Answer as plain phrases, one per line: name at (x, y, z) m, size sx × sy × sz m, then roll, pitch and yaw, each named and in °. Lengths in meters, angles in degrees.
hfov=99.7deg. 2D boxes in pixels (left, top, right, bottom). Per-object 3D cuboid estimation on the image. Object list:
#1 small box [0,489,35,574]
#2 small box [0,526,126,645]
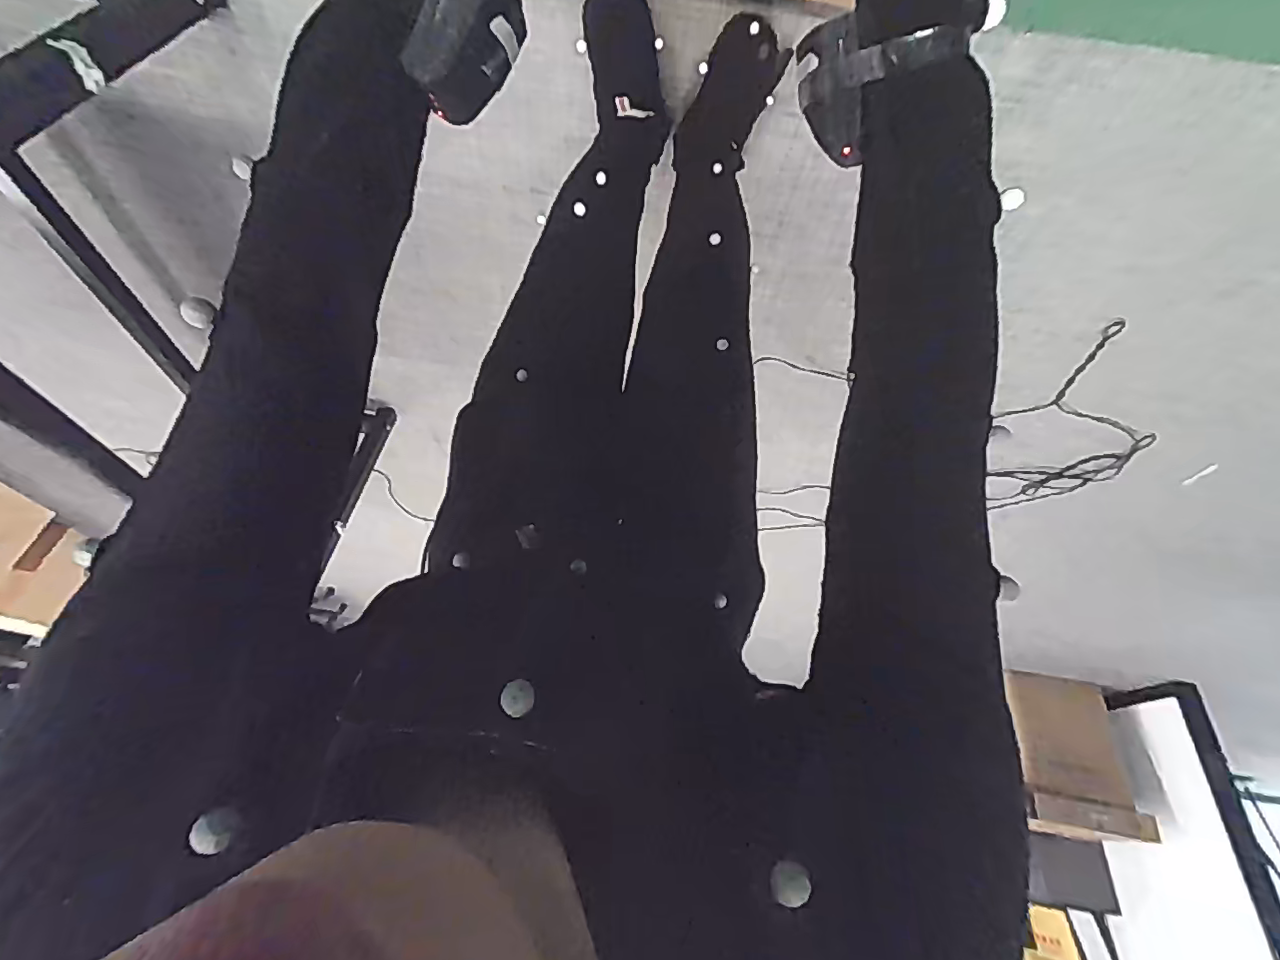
small box at (-1.084, 0.071, 0.804) m, size 0.179 × 0.176 × 0.168 m, roll 9°, pitch 148°, yaw 1°
small box at (-1.127, 0.185, 0.993) m, size 0.179 × 0.176 × 0.168 m, roll 8°, pitch 148°, yaw 2°
